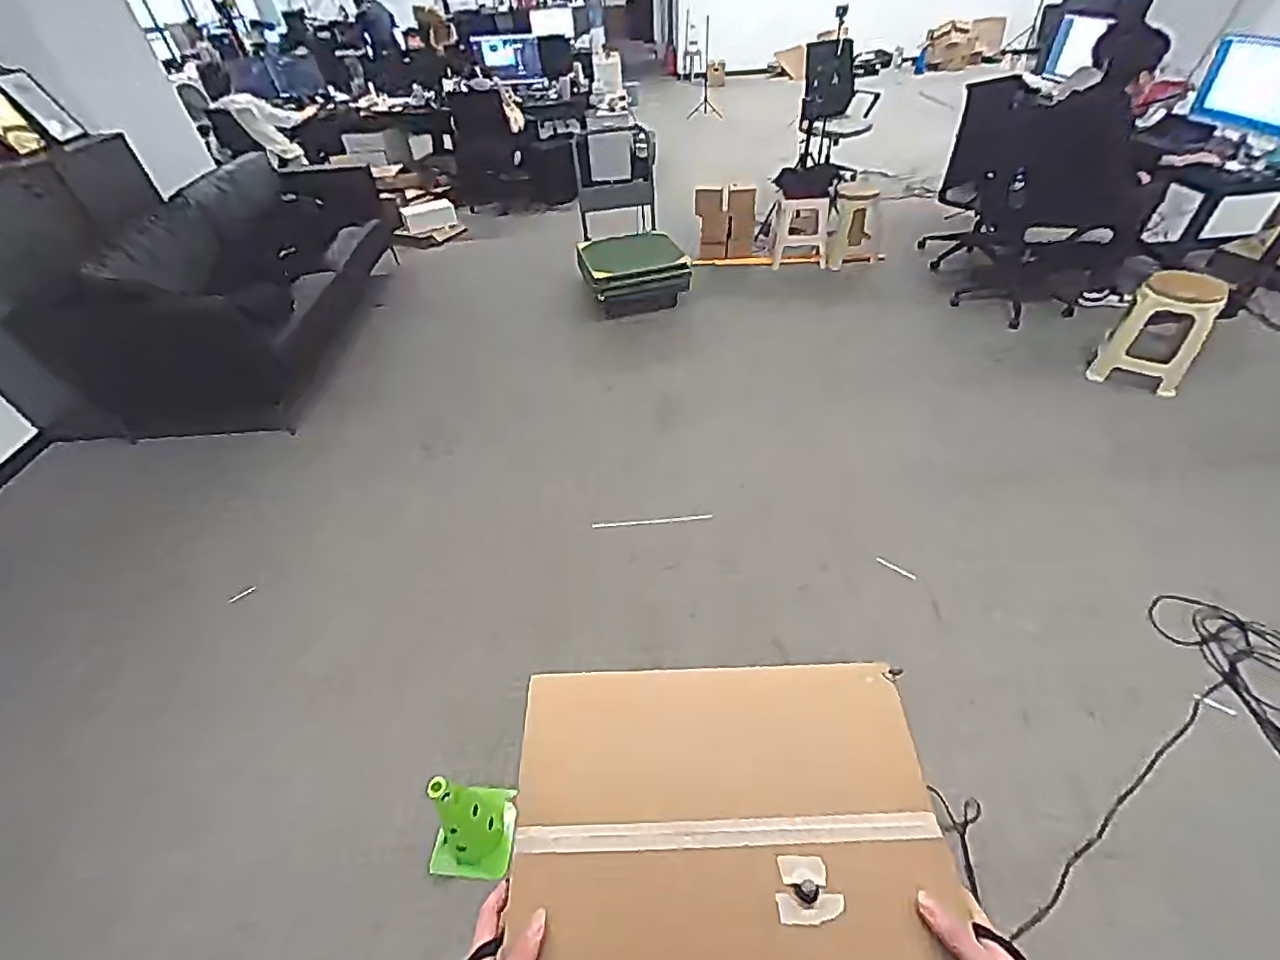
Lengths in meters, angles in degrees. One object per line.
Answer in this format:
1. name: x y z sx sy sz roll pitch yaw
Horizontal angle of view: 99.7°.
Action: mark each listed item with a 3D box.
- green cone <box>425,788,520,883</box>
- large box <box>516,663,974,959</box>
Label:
1. green cone: -0.436 0.803 1.289 0.200 0.368 0.202 0 45 5
2. large box: 0.087 0.433 0.642 0.408 0.320 0.320 -2 52 0
